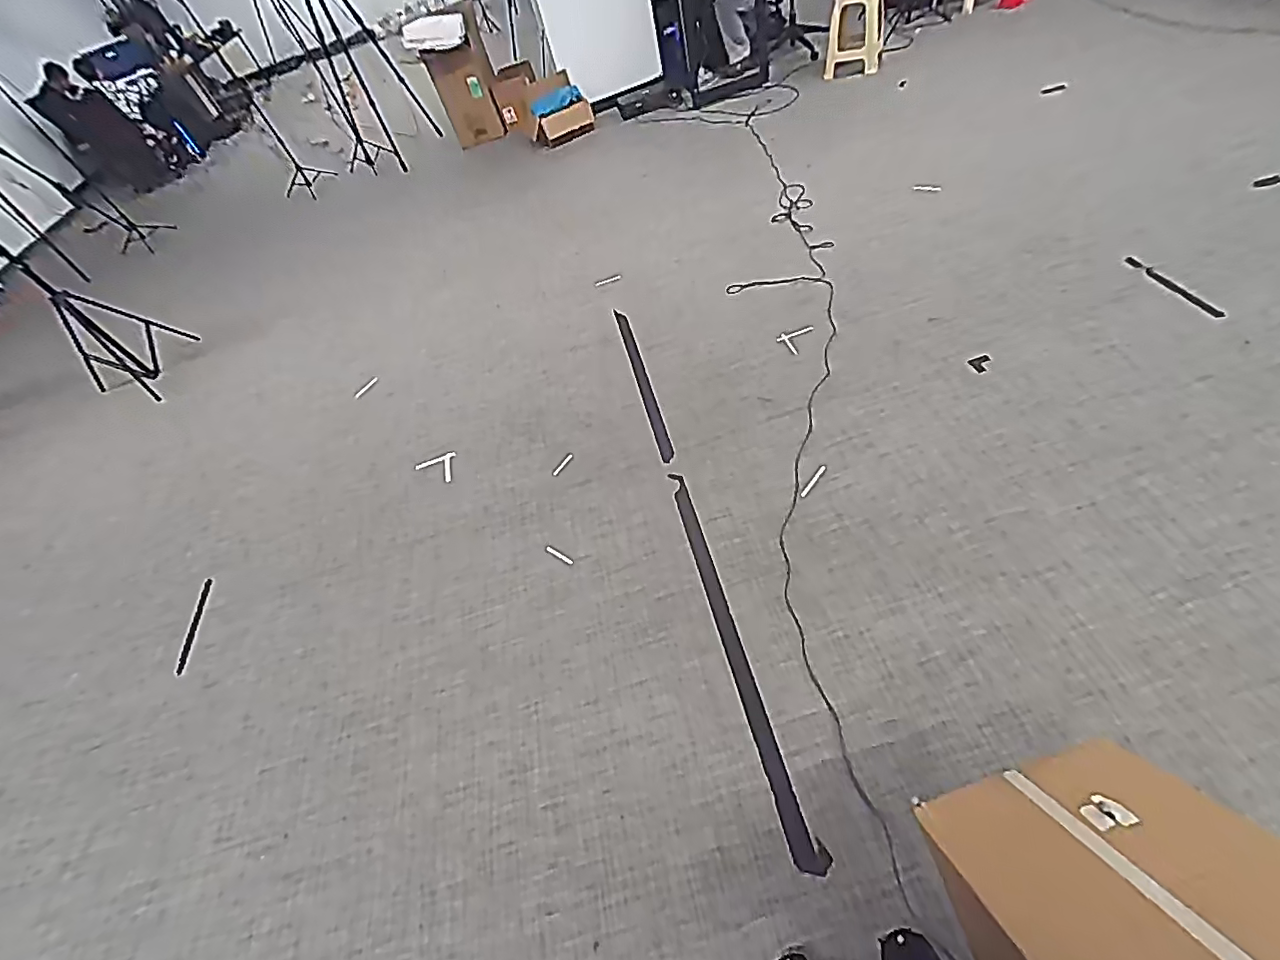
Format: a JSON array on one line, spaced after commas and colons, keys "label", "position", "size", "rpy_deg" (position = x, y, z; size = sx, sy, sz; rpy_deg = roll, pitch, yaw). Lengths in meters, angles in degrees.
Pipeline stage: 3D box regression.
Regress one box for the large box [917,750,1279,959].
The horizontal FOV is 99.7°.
[{"label": "large box", "position": [0.618, 0.603, 0.630], "size": [0.320, 0.408, 0.320], "rpy_deg": [-20, 88, 1]}]
